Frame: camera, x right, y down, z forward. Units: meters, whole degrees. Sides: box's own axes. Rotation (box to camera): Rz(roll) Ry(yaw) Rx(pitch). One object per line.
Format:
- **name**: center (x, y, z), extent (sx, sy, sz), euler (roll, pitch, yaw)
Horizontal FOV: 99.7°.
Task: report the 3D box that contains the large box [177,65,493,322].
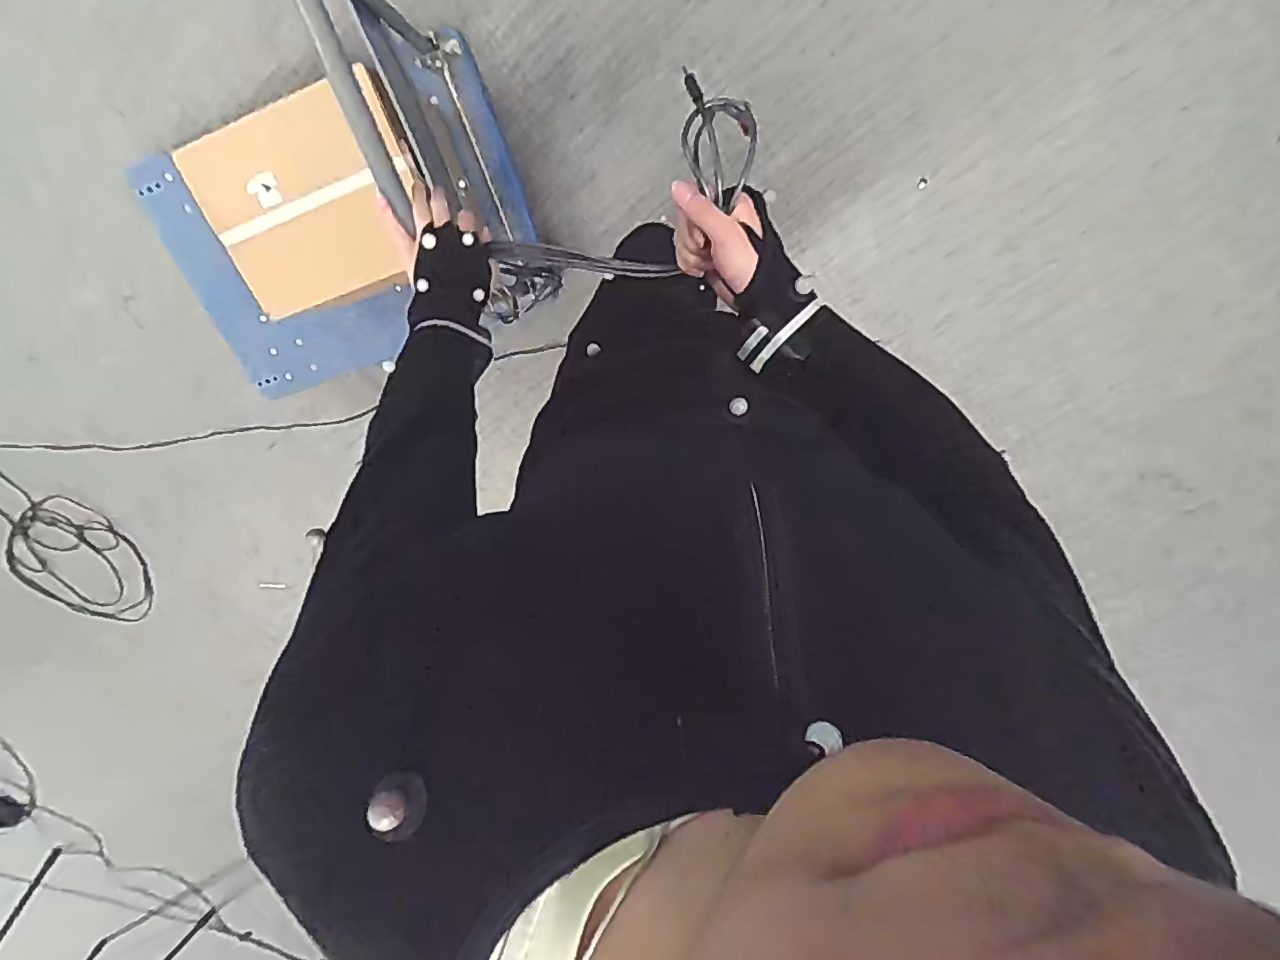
- **large box**: center (-0.583, -0.563, 1.116), extent (0.408, 0.320, 0.320), euler (-15, 112, 10)
